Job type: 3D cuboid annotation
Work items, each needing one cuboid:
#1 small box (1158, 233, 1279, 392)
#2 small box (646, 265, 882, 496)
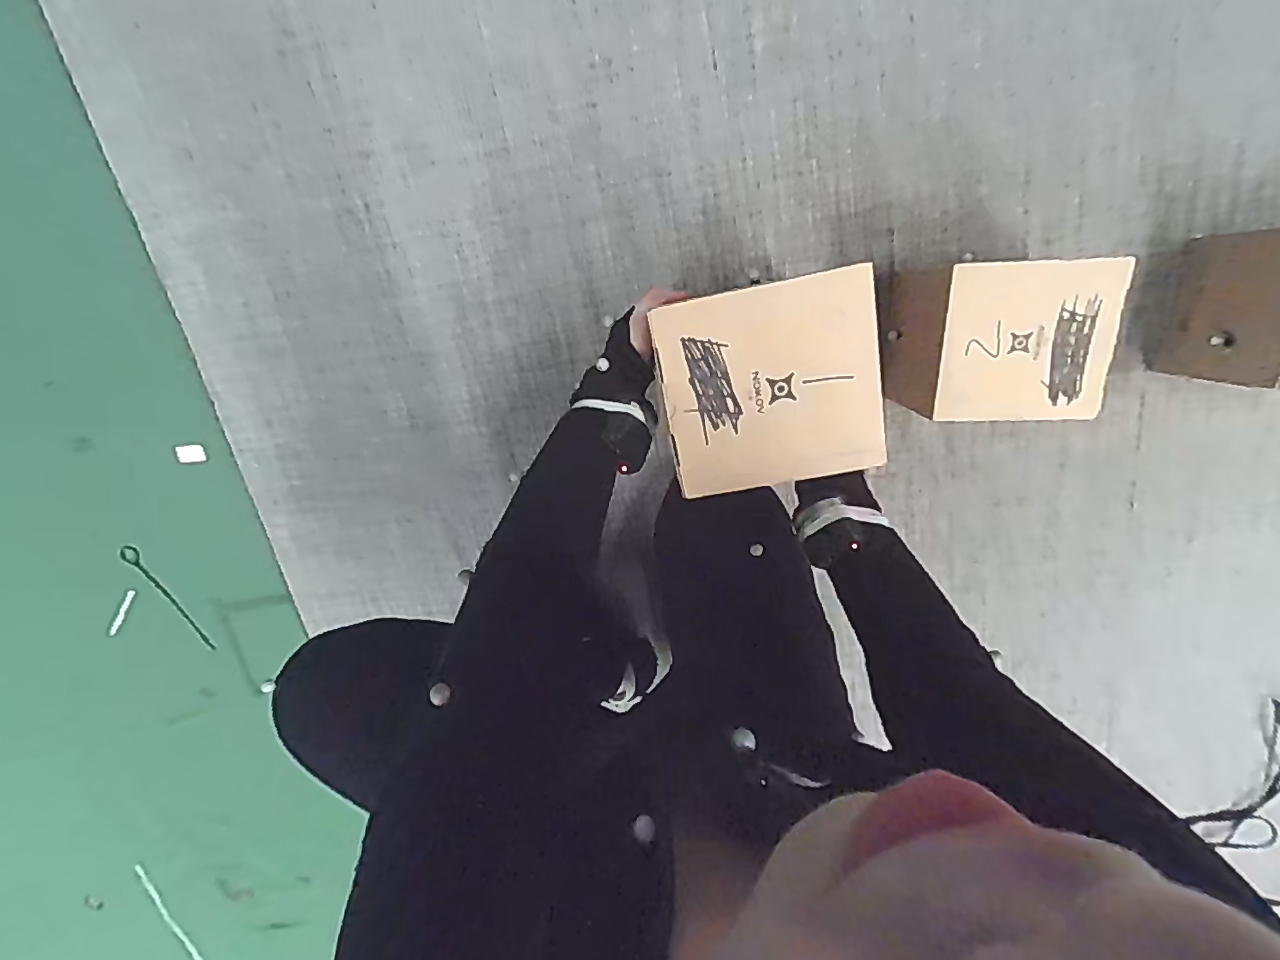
[{"bbox_3d":[0.758,-0.181,0.607,0.179,0.176,0.168,7,109,2],"label":"small box"},{"bbox_3d":[0.111,-0.098,0.518,0.179,0.176,0.168,-10,107,8],"label":"small box"}]
